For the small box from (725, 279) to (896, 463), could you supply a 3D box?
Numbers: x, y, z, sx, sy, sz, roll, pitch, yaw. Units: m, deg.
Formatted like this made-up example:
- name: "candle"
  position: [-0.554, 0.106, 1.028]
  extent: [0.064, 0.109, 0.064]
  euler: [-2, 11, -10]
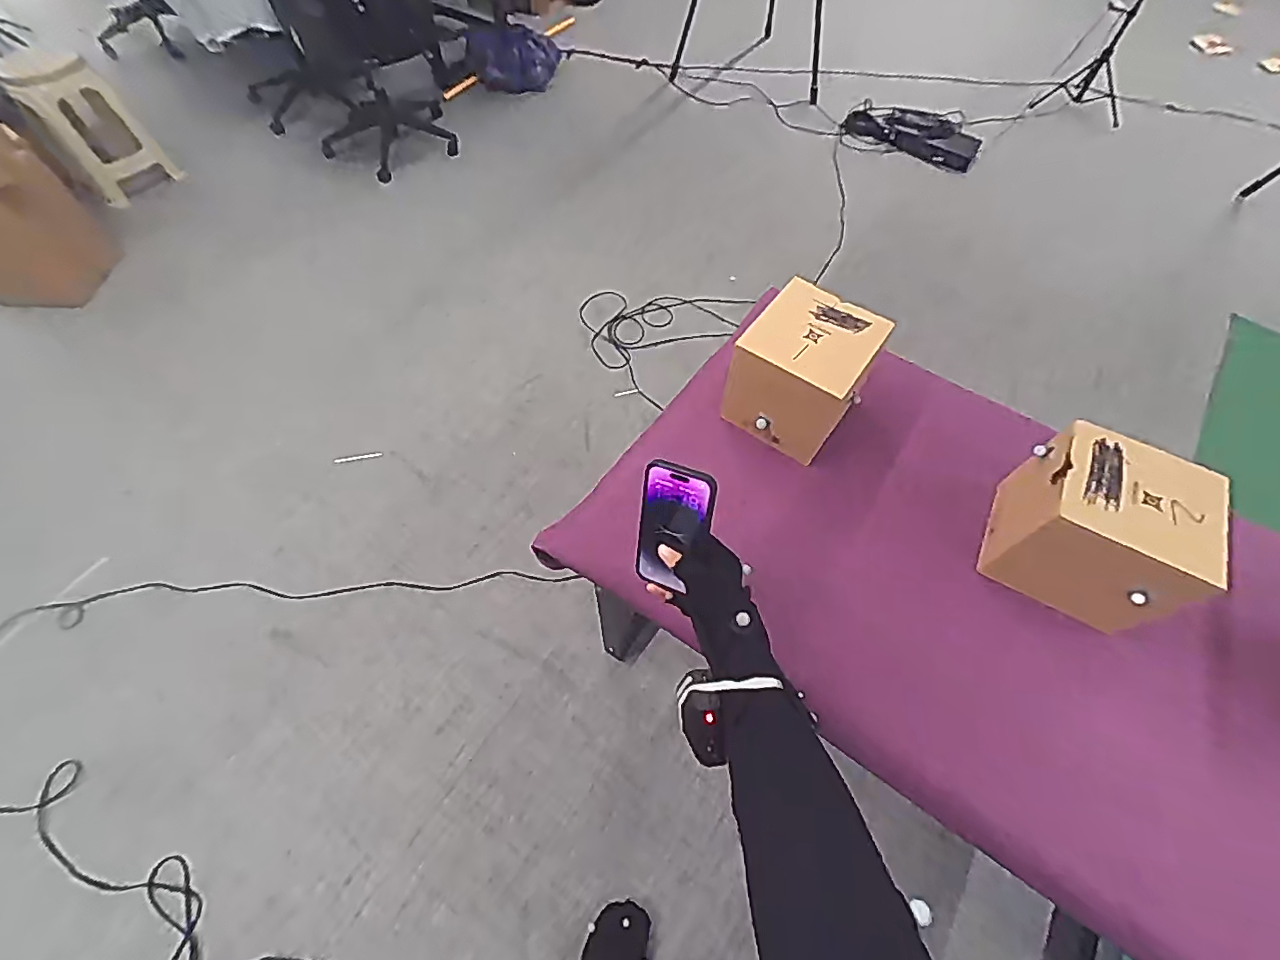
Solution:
- name: "small box"
  position: [0.246, -0.161, 0.821]
  extent: [0.168, 0.176, 0.179]
  euler: [33, 65, 17]
